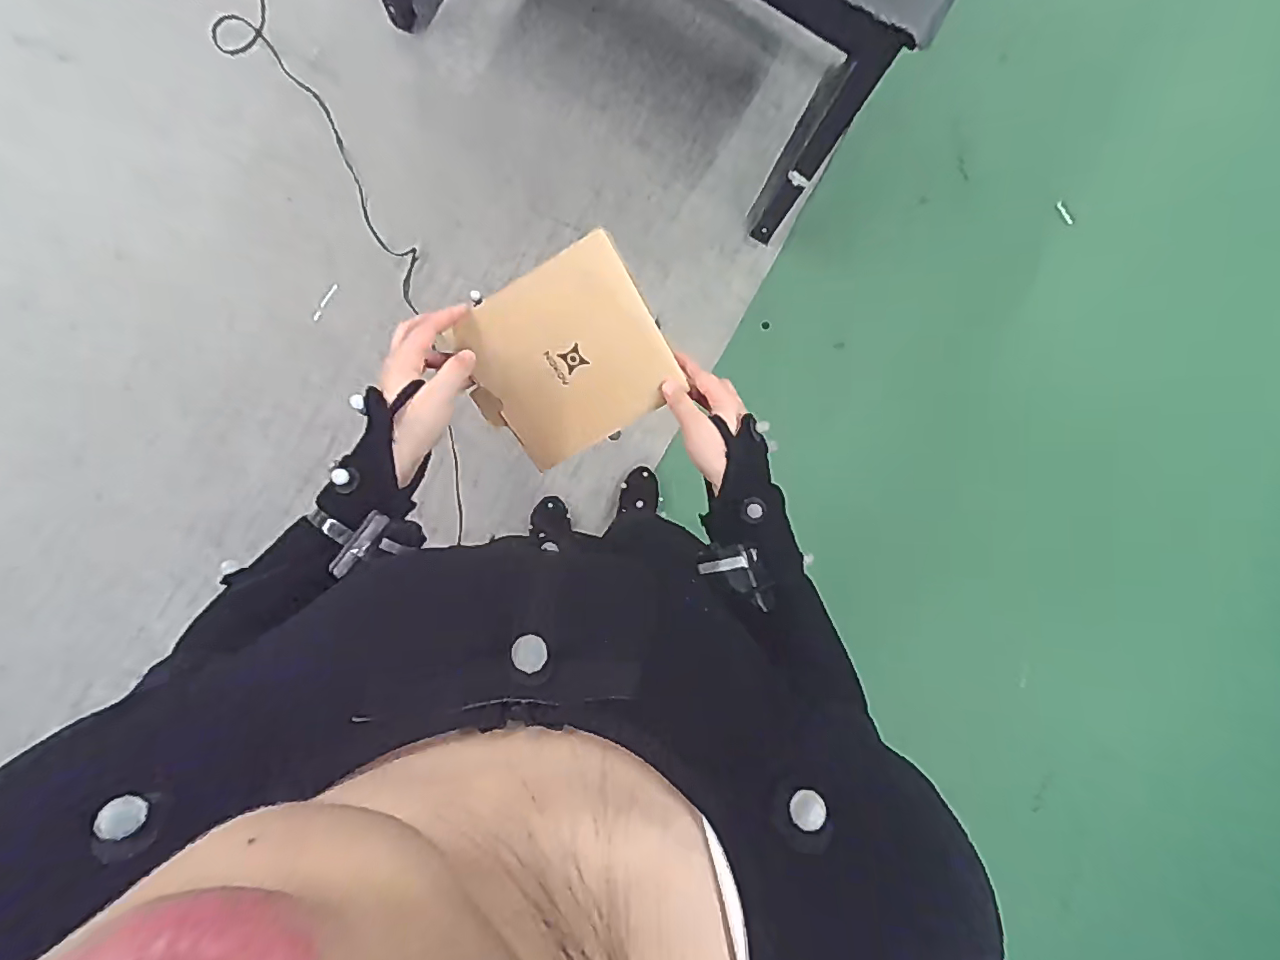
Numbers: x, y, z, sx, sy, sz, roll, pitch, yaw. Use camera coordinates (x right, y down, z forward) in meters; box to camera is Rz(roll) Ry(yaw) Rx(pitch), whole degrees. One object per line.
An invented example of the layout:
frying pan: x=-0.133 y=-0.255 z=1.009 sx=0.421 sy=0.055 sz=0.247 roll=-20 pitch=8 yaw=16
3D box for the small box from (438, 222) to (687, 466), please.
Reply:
small box: x=-0.070 y=-0.149 z=0.566 sx=0.179 sy=0.176 sz=0.168 roll=-28 pitch=112 yaw=12
